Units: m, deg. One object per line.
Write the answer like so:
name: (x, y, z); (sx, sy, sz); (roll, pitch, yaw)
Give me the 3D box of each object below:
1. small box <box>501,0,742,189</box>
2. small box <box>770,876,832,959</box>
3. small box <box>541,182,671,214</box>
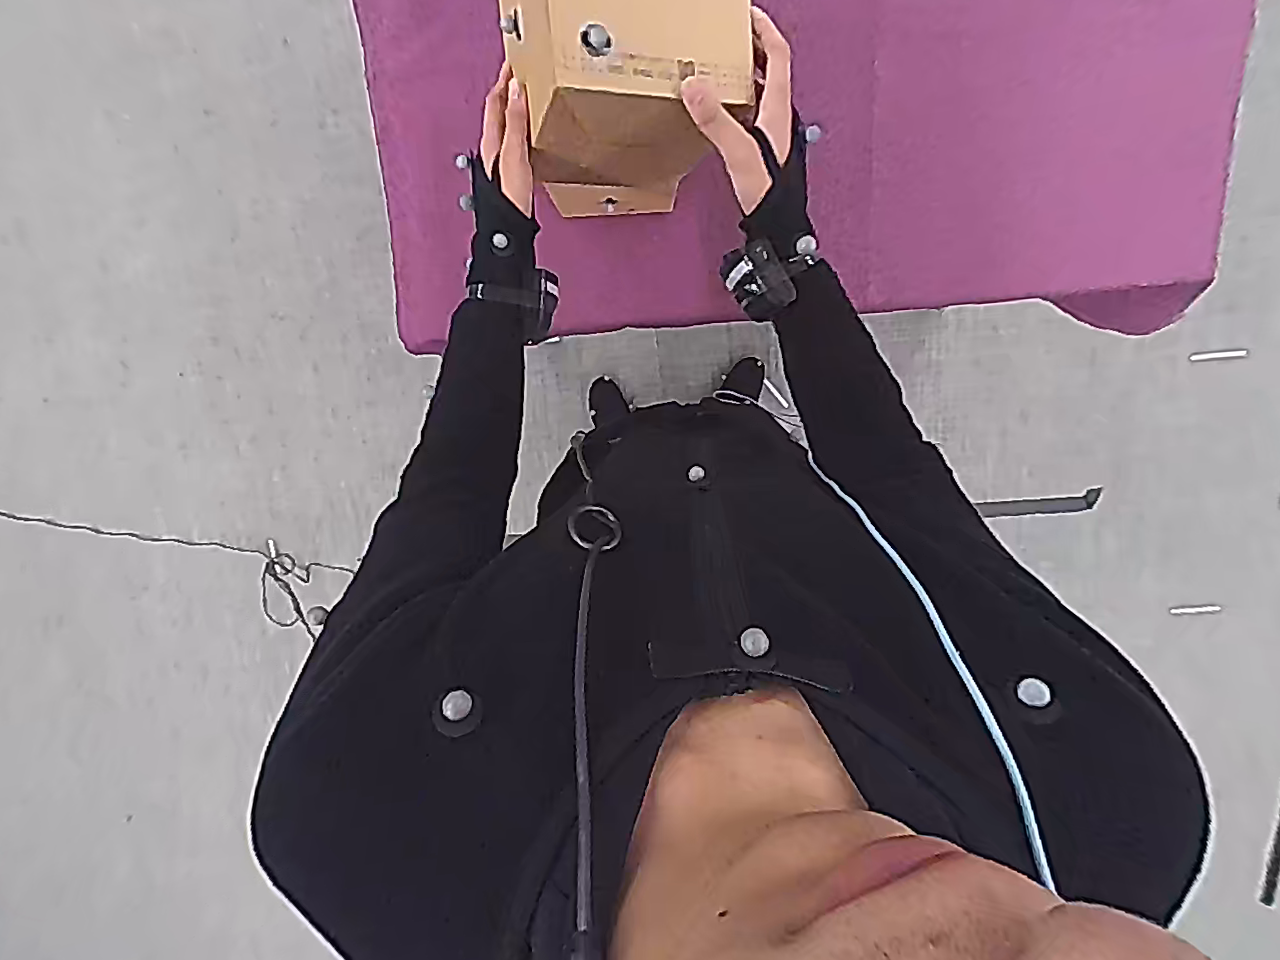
small box: (-0.023, -0.375, 0.473); (0.168, 0.179, 0.176); (-7, 98, -19)
small box: (0.566, 1.554, 1.924); (0.179, 0.176, 0.168); (-7, 103, 0)
small box: (-0.042, -0.458, 0.706); (0.168, 0.176, 0.179); (-2, 103, 0)
